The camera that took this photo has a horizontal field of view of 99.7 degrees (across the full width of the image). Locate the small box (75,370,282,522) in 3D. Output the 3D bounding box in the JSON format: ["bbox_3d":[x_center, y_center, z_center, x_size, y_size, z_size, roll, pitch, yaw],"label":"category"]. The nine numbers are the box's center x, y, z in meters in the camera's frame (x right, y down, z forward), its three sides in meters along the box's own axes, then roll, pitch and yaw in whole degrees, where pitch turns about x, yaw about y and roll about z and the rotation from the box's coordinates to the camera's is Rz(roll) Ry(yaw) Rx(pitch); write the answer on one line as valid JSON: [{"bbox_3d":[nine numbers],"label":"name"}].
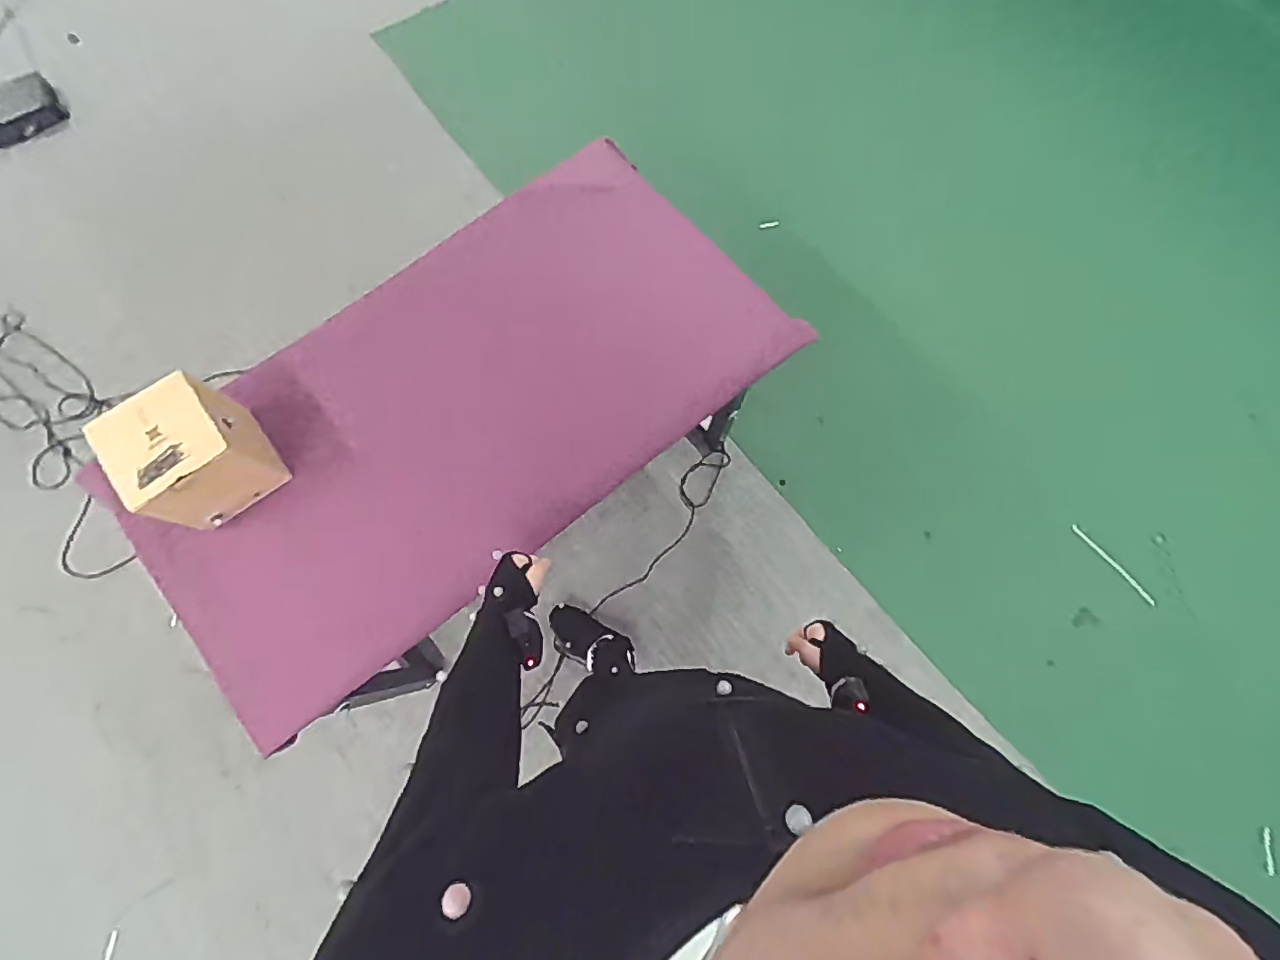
[{"bbox_3d":[-0.753,-0.044,0.906,0.168,0.176,0.179,-38,80,-11],"label":"small box"}]
